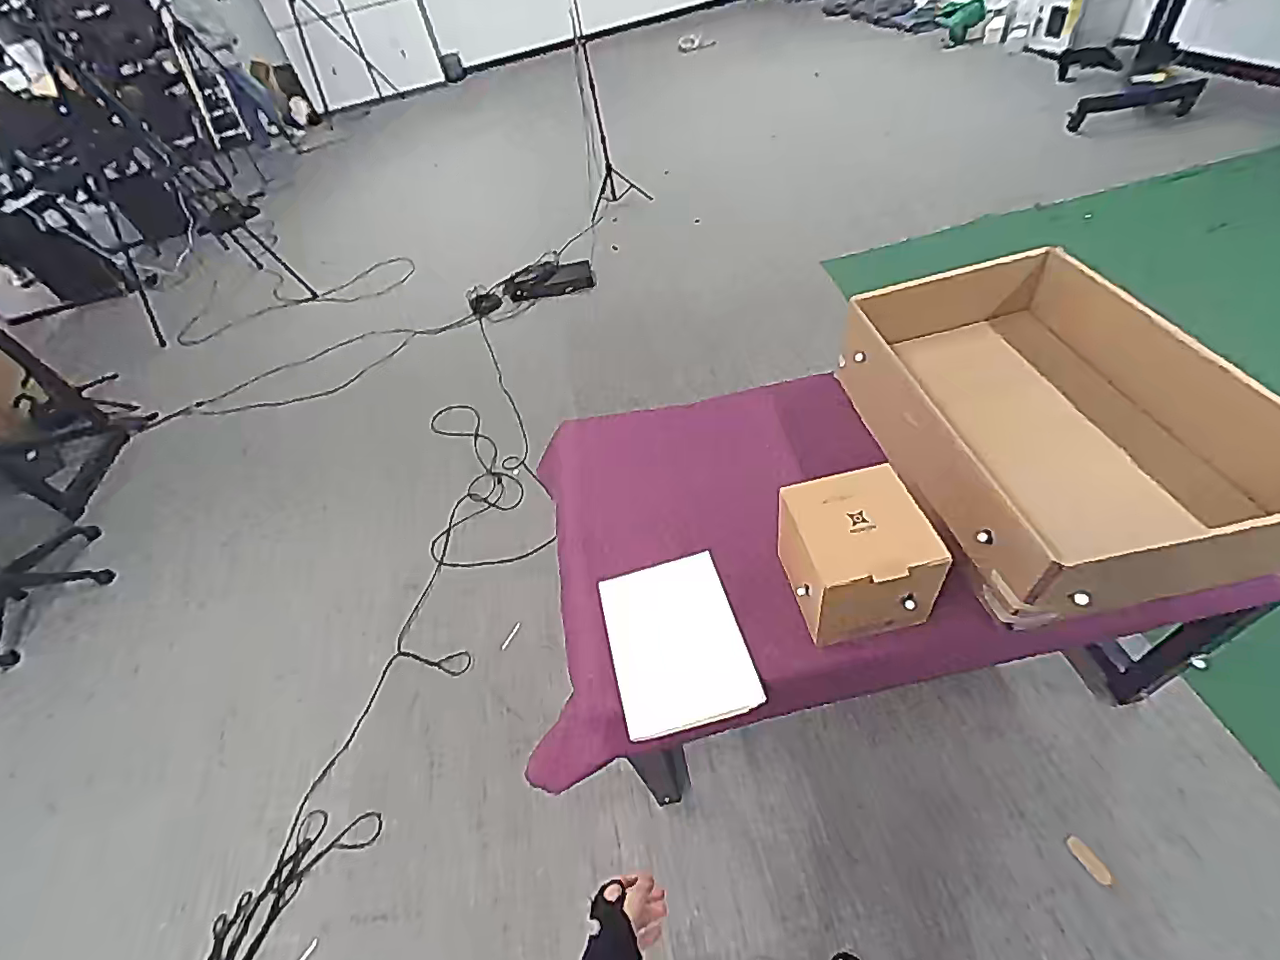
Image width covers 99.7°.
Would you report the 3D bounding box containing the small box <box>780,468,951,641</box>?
[{"bbox_3d":[0.310,0.115,0.783,0.168,0.176,0.179,-13,45,2],"label":"small box"}]
